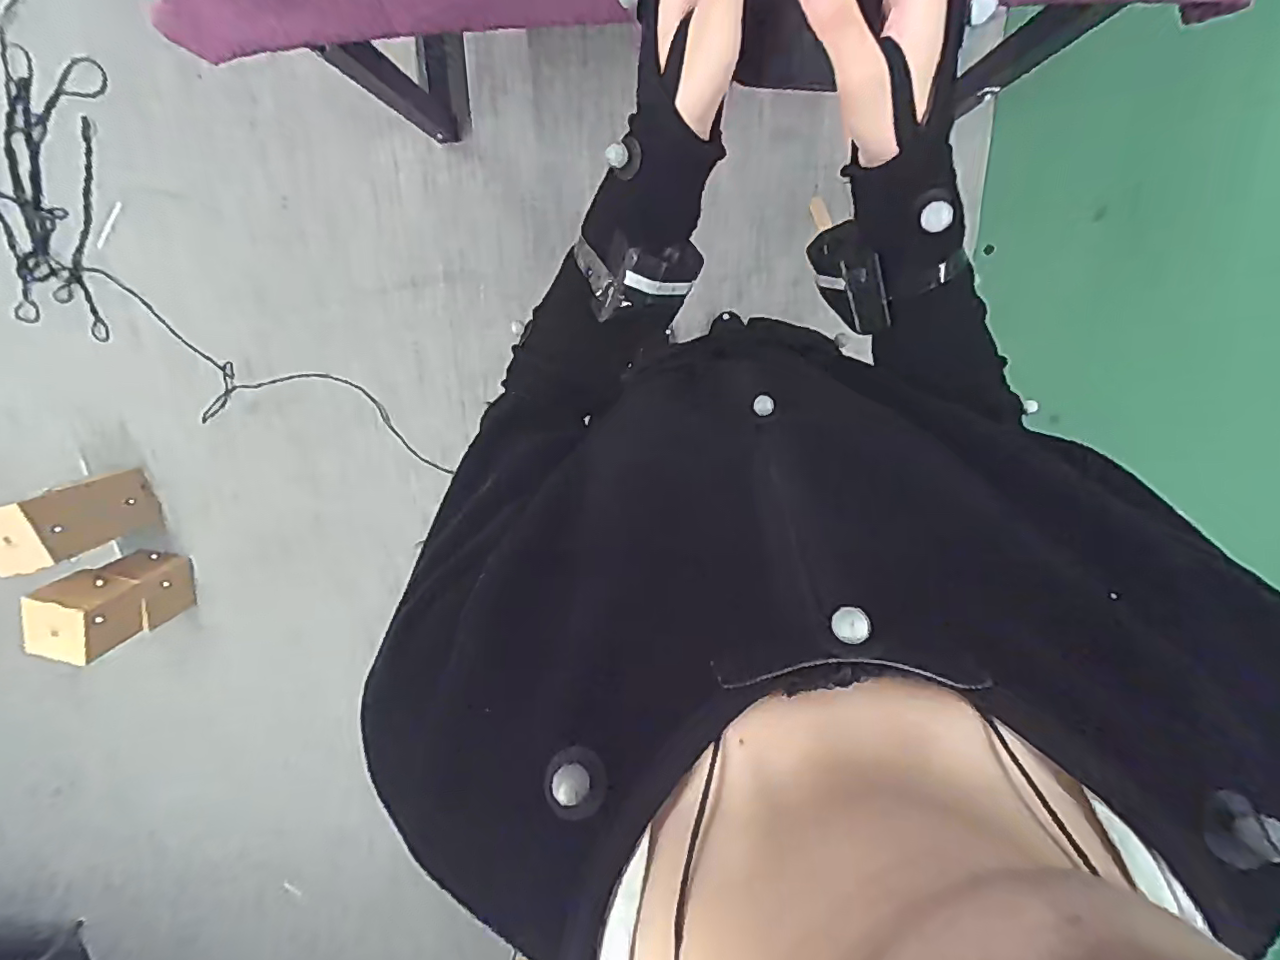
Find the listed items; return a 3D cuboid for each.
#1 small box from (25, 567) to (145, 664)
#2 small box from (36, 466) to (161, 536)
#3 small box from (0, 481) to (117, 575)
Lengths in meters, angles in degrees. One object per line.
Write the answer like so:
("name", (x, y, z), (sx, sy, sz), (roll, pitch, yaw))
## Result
("small box", (-1.523, 0.369, 1.496), (0.168, 0.176, 0.179), (15, 107, -1))
("small box", (-1.552, 0.066, 1.569), (0.179, 0.176, 0.168), (-8, 107, 6))
("small box", (-1.548, 0.121, 1.416), (0.168, 0.176, 0.179), (-12, 107, 6))
